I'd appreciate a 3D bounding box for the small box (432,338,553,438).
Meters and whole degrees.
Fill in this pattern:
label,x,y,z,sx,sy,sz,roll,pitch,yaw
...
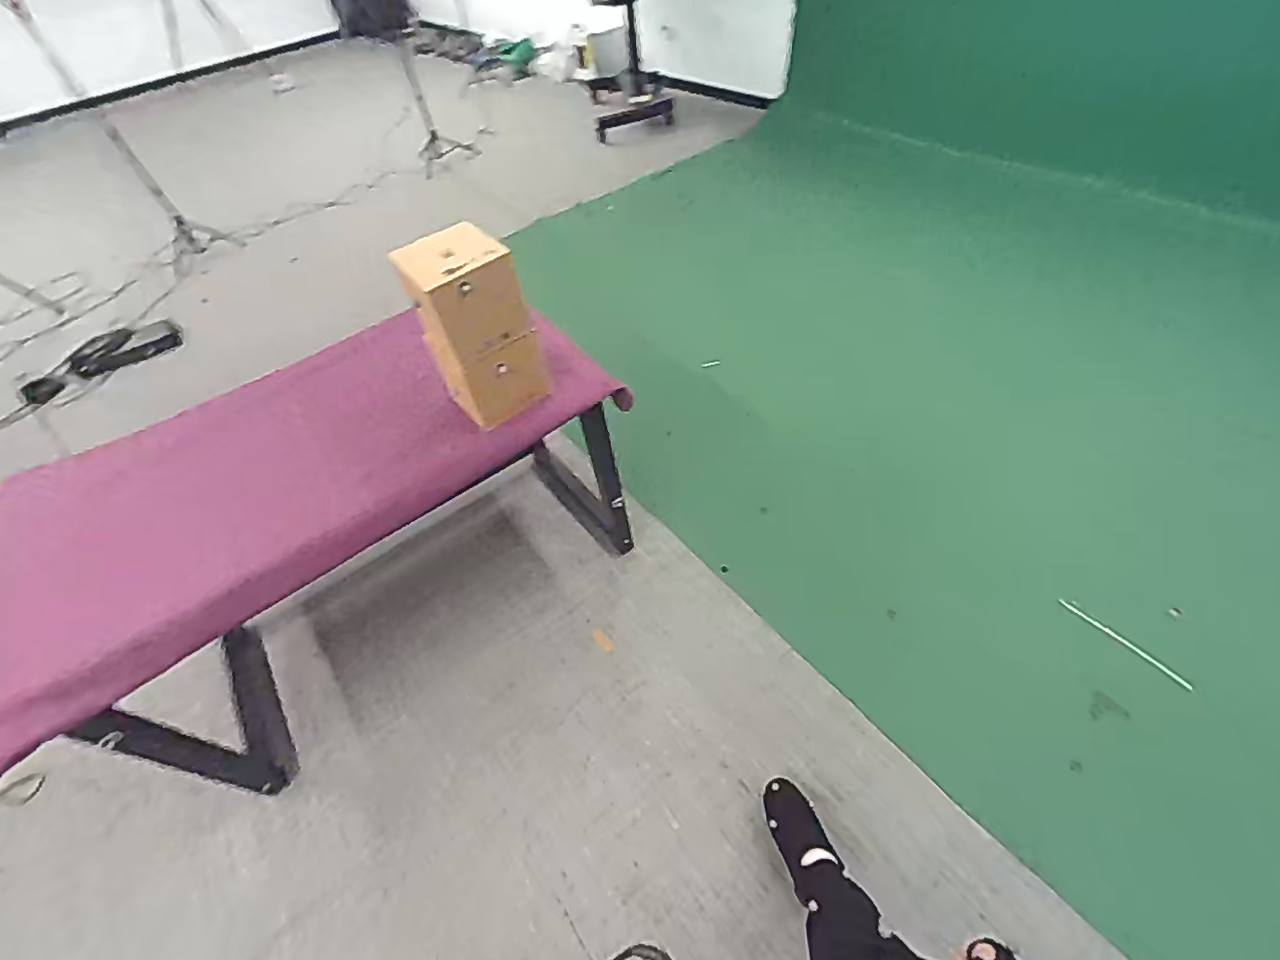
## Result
label,x,y,z,sx,sy,sz,roll,pitch,yaw
small box,-0.304,-0.226,1.155,0.179,0.176,0.168,-36,55,-18

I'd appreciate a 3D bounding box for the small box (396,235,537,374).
label,x,y,z,sx,sy,sz,roll,pitch,yaw
small box,-0.325,-0.332,1.031,0.168,0.176,0.179,-36,54,-17
